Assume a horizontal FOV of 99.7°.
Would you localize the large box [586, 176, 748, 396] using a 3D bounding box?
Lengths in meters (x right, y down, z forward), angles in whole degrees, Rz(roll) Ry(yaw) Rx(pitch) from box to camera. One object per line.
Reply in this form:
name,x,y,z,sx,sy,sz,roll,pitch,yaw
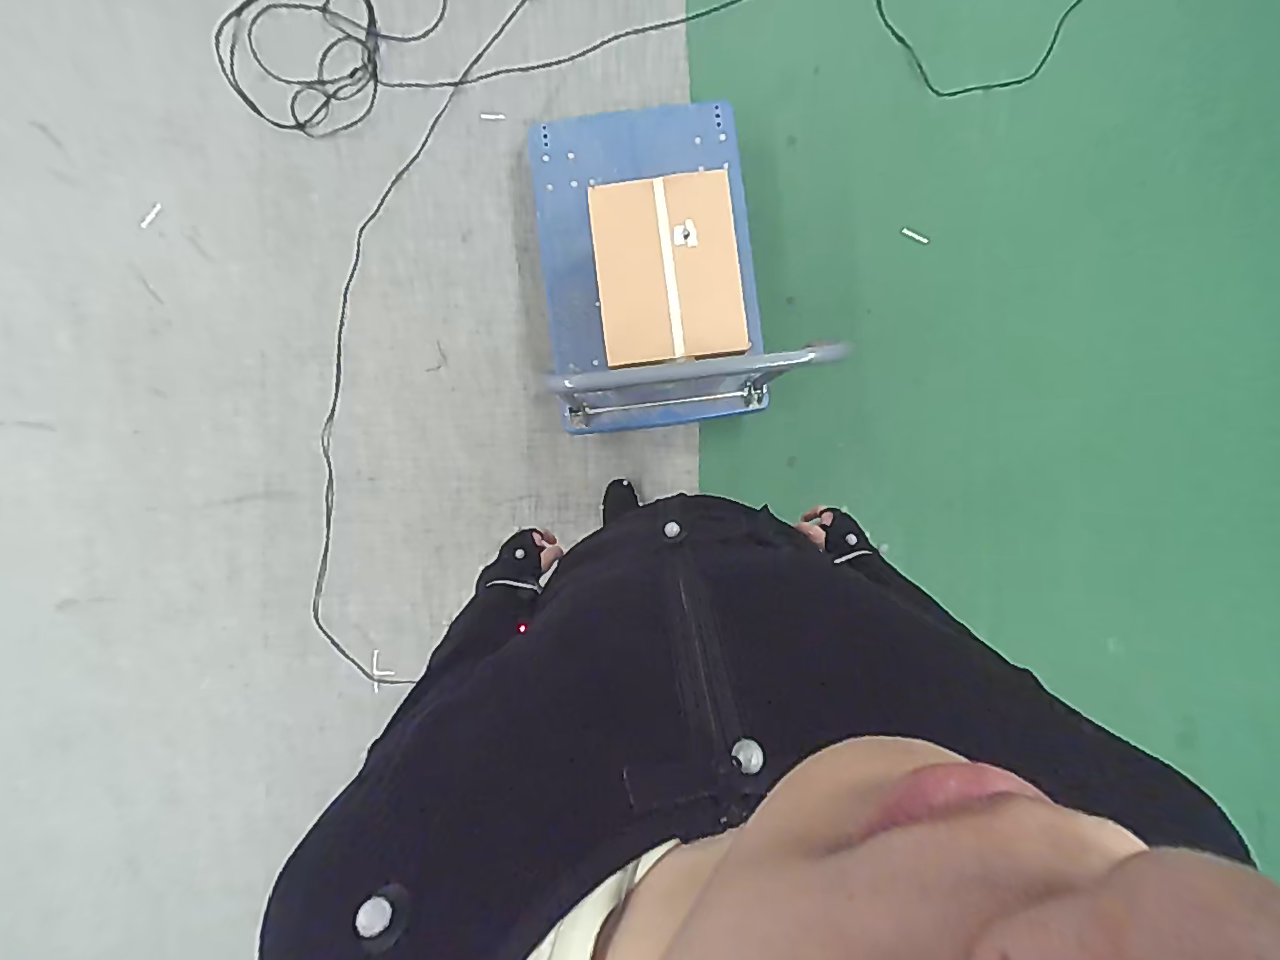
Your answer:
large box,0.059,-0.449,1.331,0.320,0.320,0.408,-7,87,-1
